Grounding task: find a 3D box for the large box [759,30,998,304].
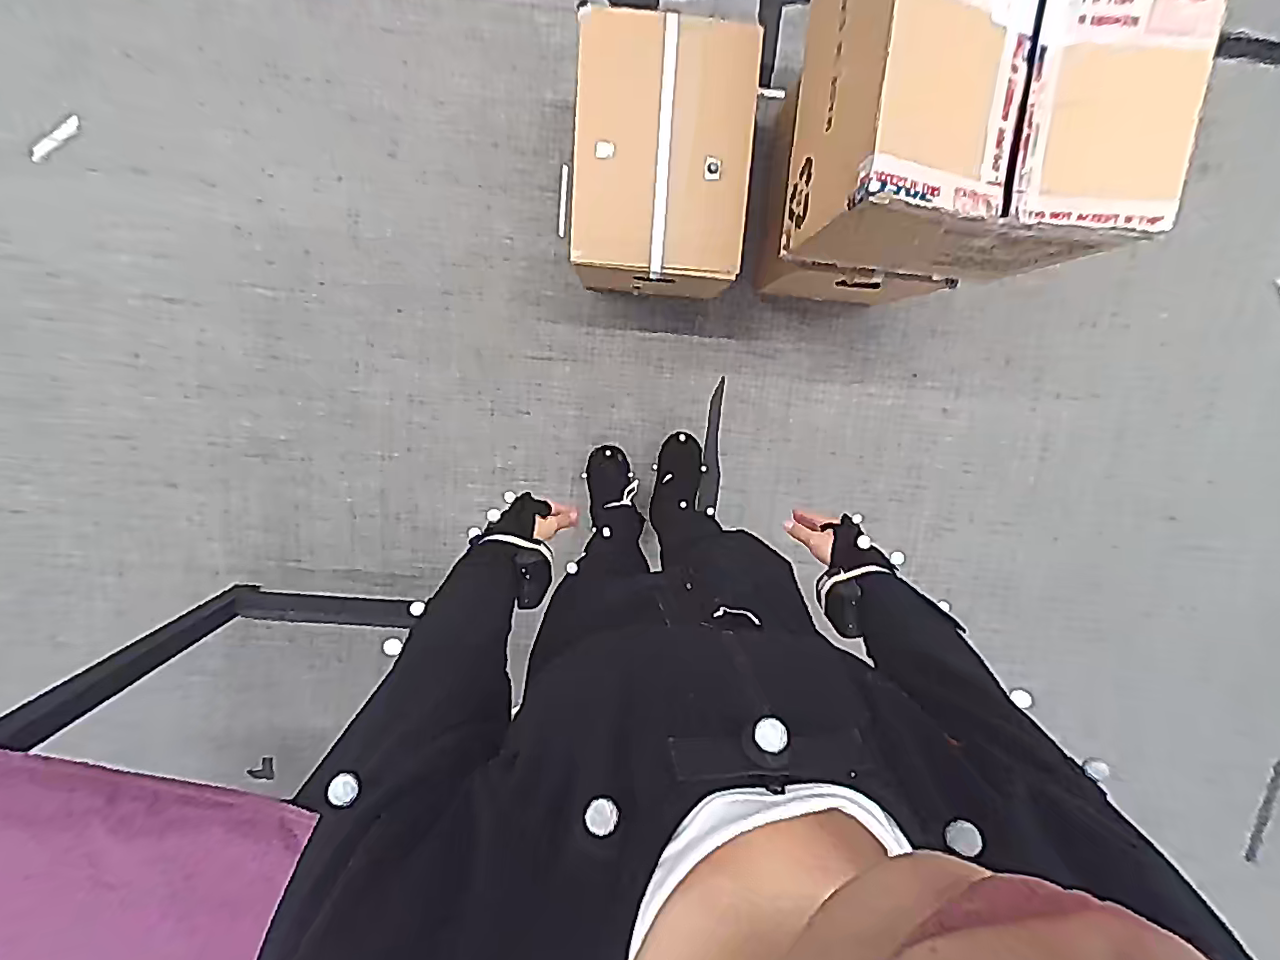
[{"bbox_3d":[0.452,-0.596,1.111,0.320,0.320,0.408,3,101,-3],"label":"large box"}]
